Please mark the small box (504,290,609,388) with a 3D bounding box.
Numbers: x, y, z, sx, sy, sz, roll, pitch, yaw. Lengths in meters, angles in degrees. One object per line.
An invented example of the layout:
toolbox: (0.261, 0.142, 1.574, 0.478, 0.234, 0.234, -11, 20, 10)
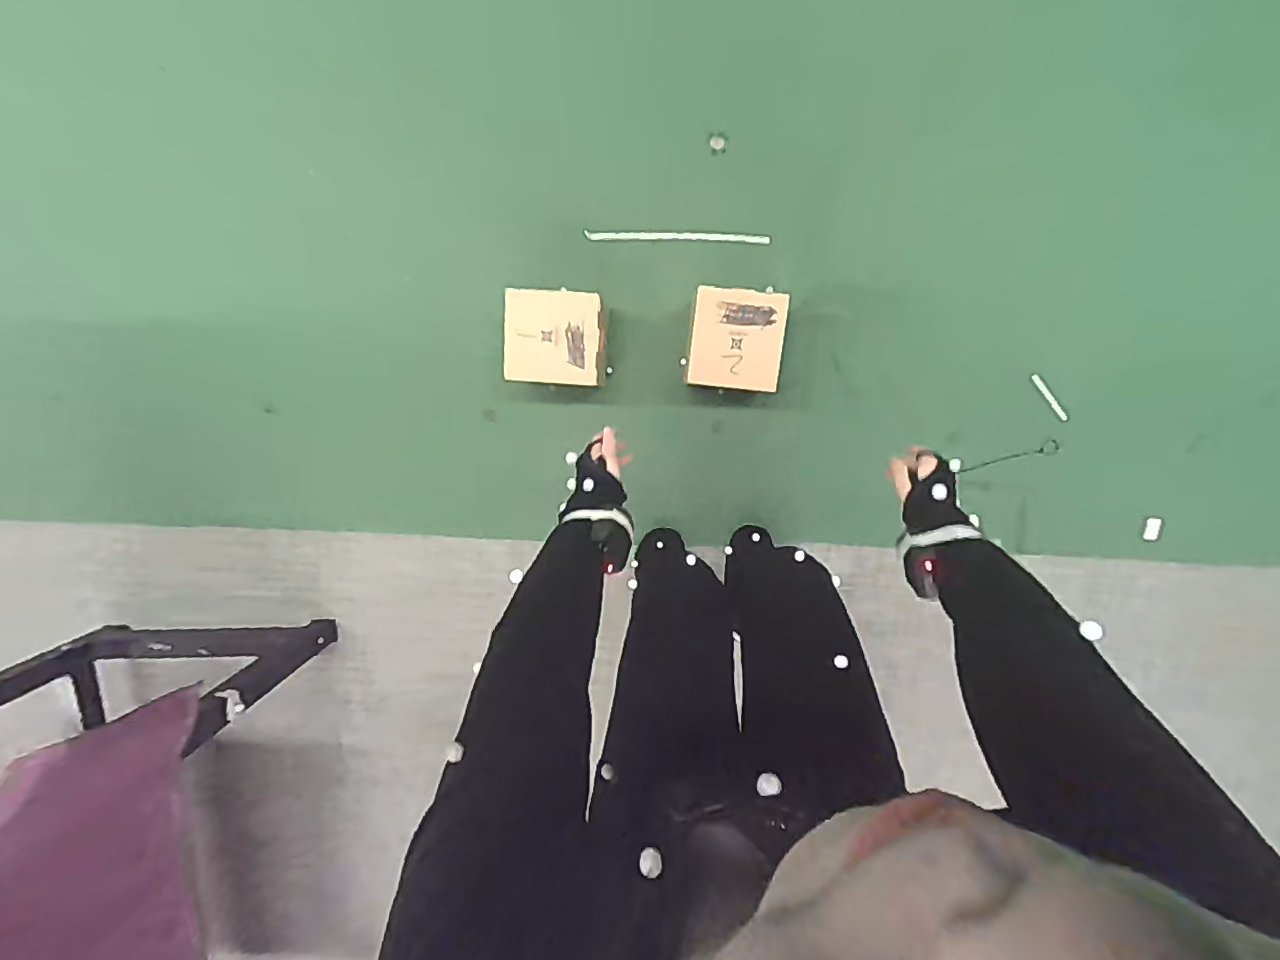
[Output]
small box: (-0.158, -0.273, 1.073, 0.179, 0.176, 0.168, 5, 100, 3)
